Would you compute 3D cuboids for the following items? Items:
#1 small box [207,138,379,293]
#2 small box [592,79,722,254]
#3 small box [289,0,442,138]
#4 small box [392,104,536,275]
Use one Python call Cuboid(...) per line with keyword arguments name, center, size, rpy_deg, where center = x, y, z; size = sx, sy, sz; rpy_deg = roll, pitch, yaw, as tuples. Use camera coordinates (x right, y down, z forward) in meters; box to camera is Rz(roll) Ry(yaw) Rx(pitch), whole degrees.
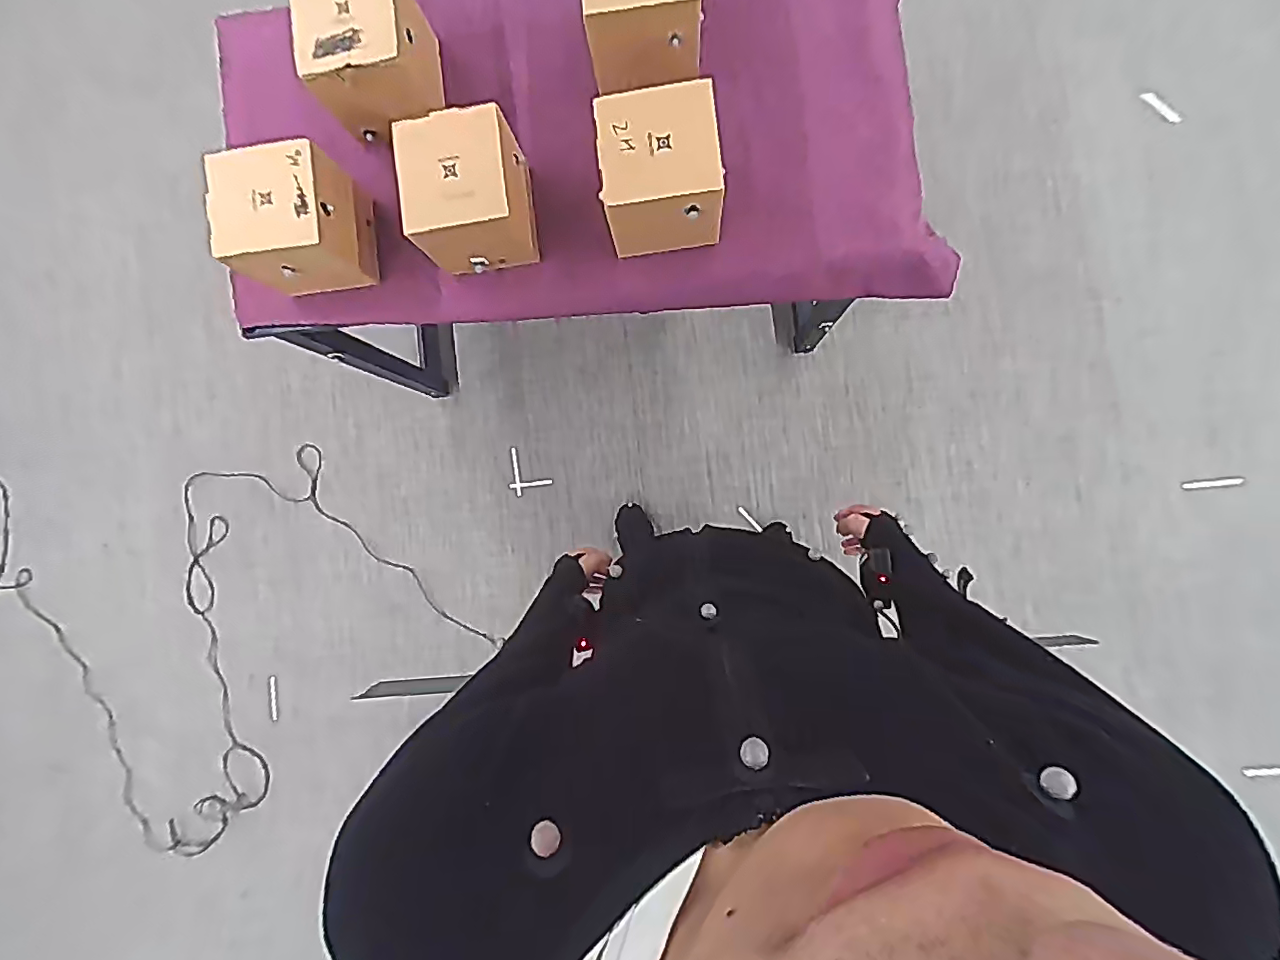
Cuboid(name="small box", center=(-0.571, -0.428, 0.905), size=(0.179, 0.176, 0.168), rpy_deg=(-6, 89, 5))
Cuboid(name="small box", center=(0.029, -0.480, 0.854), size=(0.179, 0.176, 0.168), rpy_deg=(-6, 87, 5))
Cuboid(name="small box", center=(-0.447, -0.707, 0.904), size=(0.168, 0.176, 0.179), rpy_deg=(-7, 88, 4))
Cuboid(name="small box", center=(-0.278, -0.462, 0.884), size=(0.168, 0.176, 0.179), rpy_deg=(-7, 90, 5))
